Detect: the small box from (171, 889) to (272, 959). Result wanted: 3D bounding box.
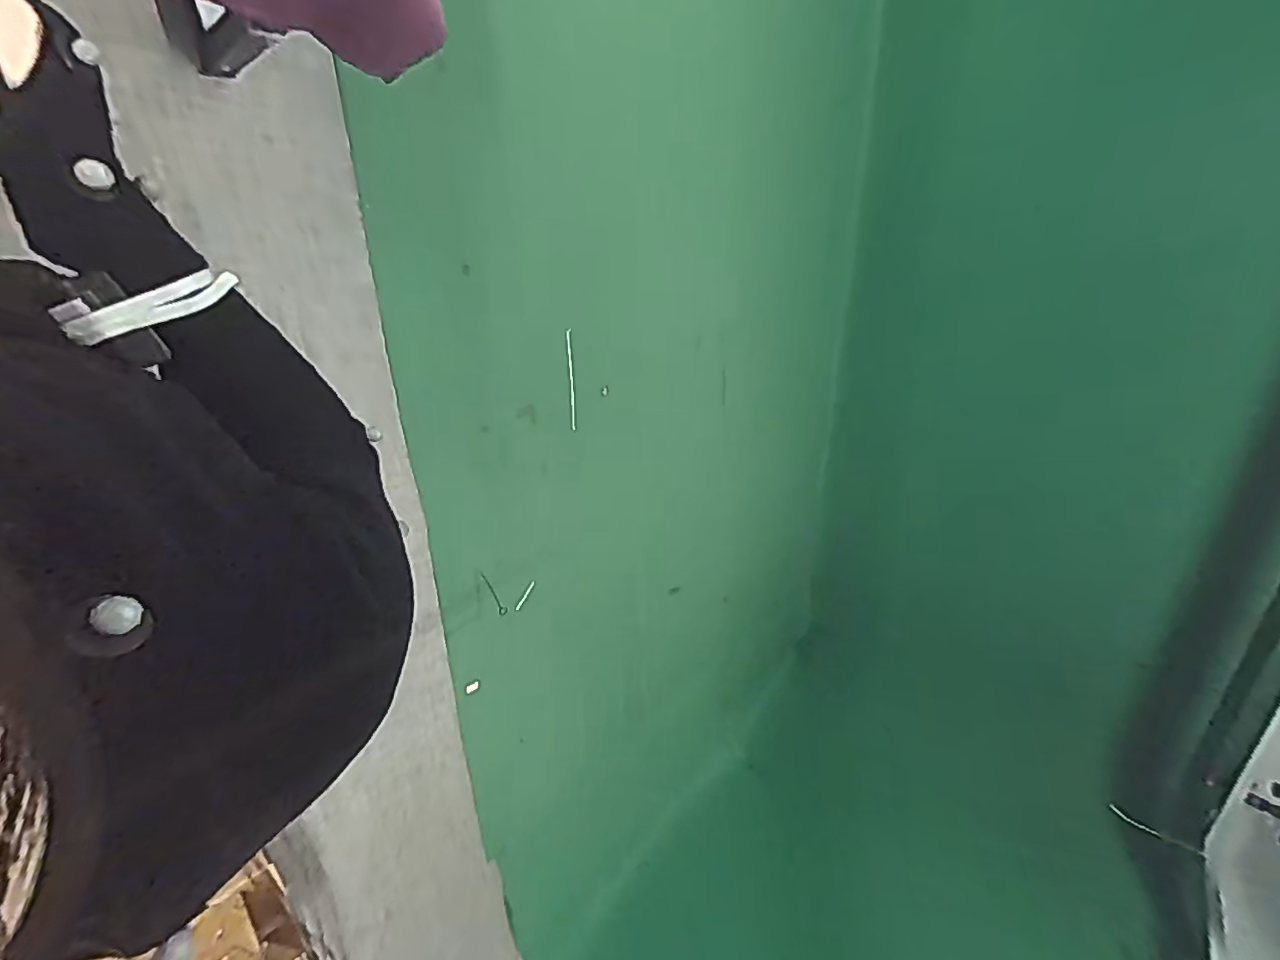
[{"bbox_3d":[-1.099,1.233,1.423,0.168,0.176,0.179,-19,119,-44],"label":"small box"}]
